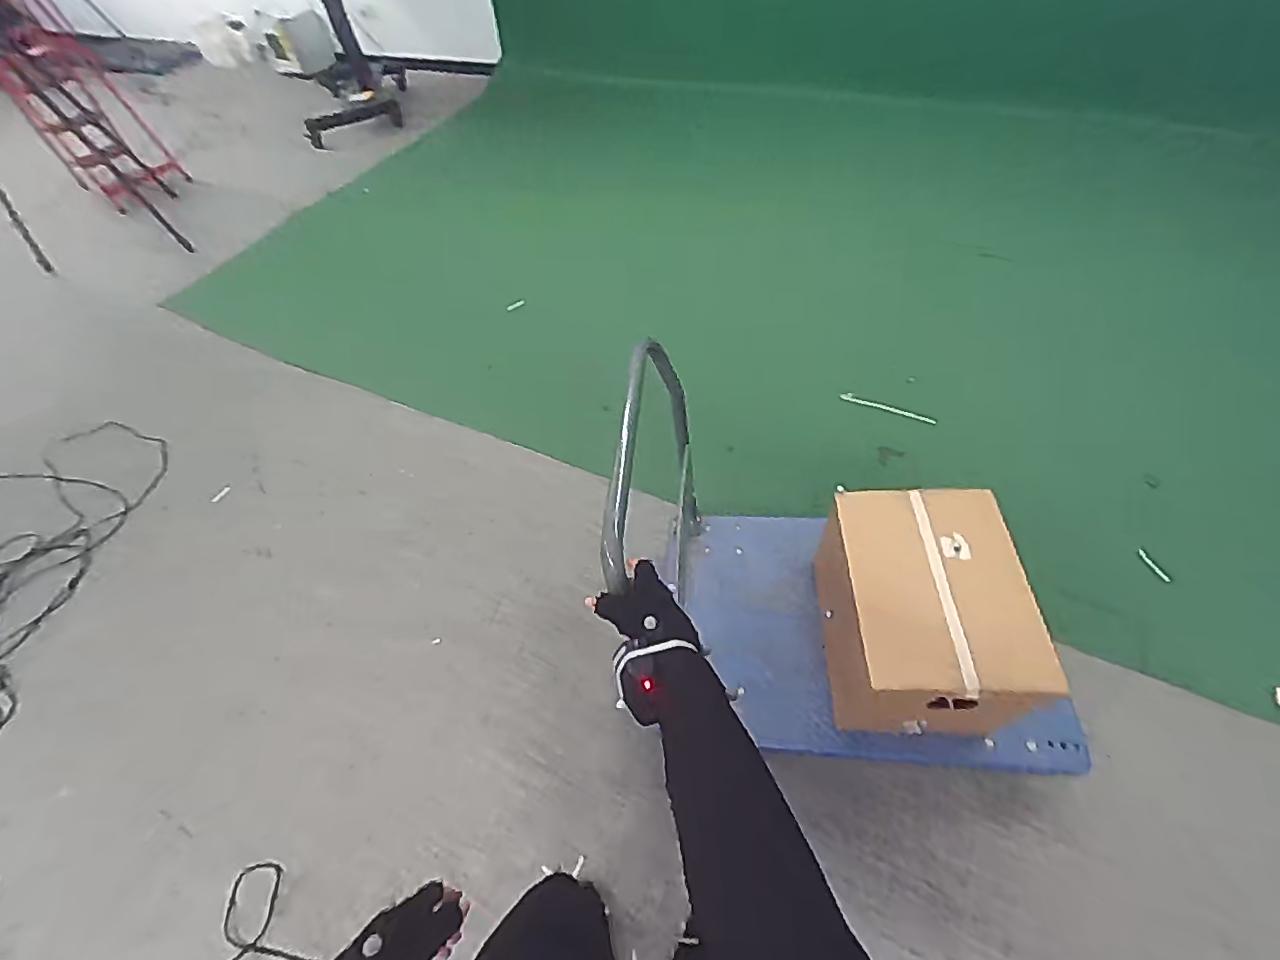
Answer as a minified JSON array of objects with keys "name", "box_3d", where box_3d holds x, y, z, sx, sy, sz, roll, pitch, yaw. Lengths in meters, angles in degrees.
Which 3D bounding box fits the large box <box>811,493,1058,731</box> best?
[{"name":"large box","box_3d":[0.560,0.278,1.134,0.320,0.320,0.408,0,53,6]}]
